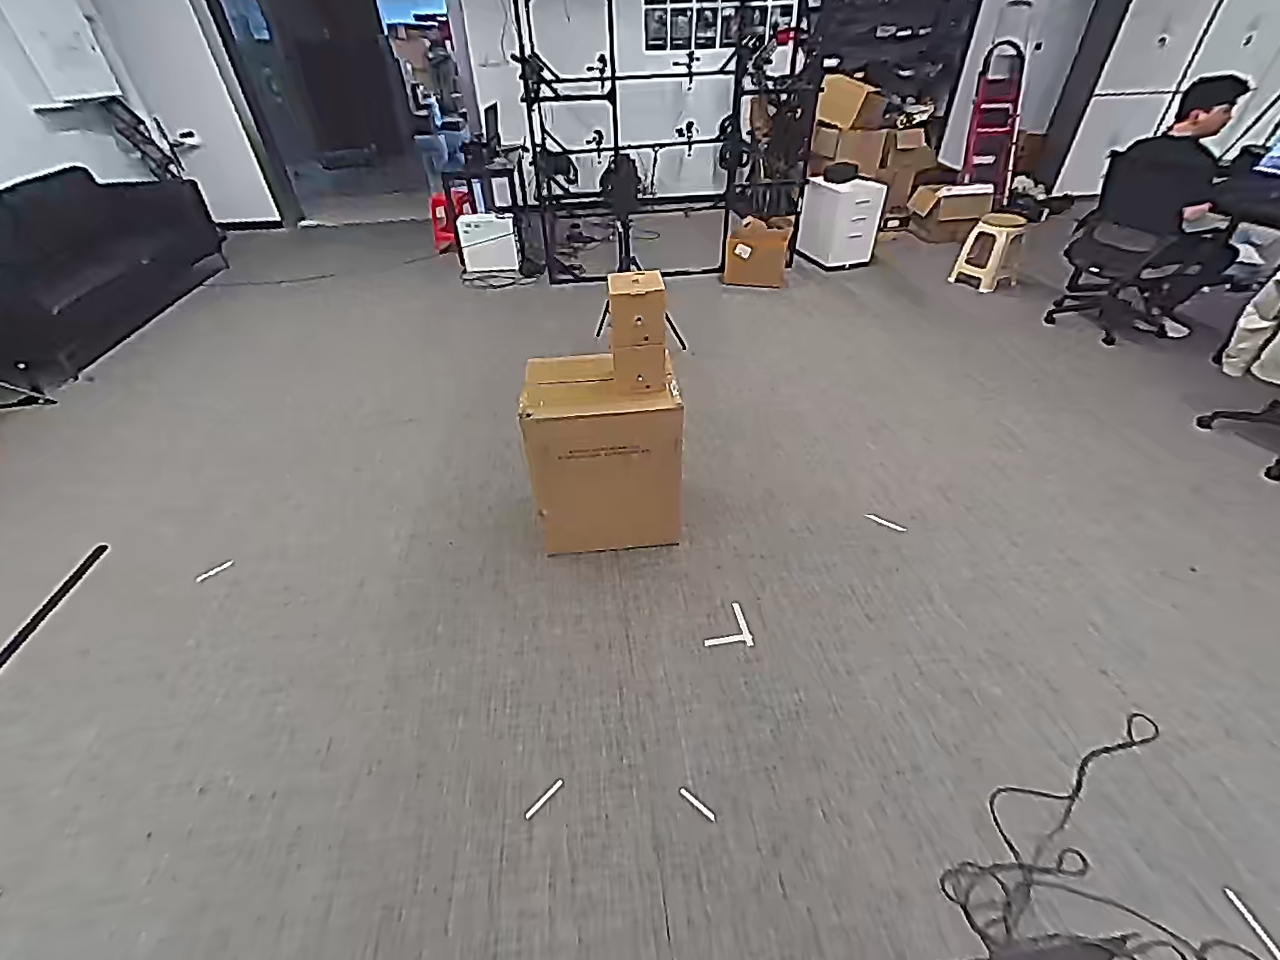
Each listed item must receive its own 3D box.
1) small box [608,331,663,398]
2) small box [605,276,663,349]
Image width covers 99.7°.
[{"bbox_3d":[-0.016,-0.389,1.795,0.168,0.176,0.179,-6,40,-3],"label":"small box"},{"bbox_3d":[-0.019,-0.519,1.694,0.168,0.176,0.179,-5,40,-2],"label":"small box"}]
